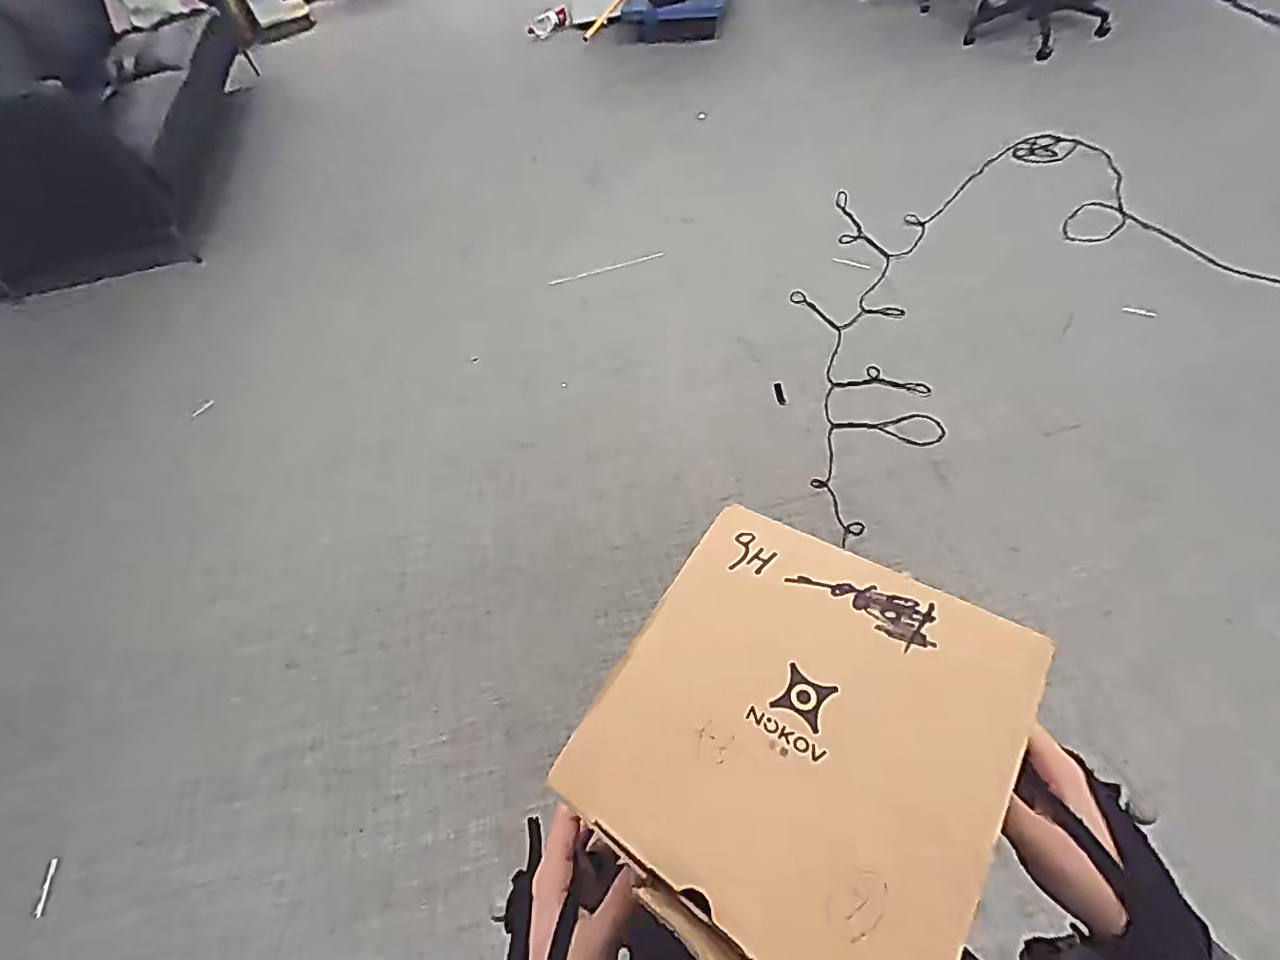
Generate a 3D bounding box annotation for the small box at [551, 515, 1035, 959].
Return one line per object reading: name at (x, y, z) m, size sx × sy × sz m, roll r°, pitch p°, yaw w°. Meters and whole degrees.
small box at (0.086, 0.158, 0.314) m, size 0.168 × 0.176 × 0.179 m, roll 24°, pitch 64°, yaw 29°
